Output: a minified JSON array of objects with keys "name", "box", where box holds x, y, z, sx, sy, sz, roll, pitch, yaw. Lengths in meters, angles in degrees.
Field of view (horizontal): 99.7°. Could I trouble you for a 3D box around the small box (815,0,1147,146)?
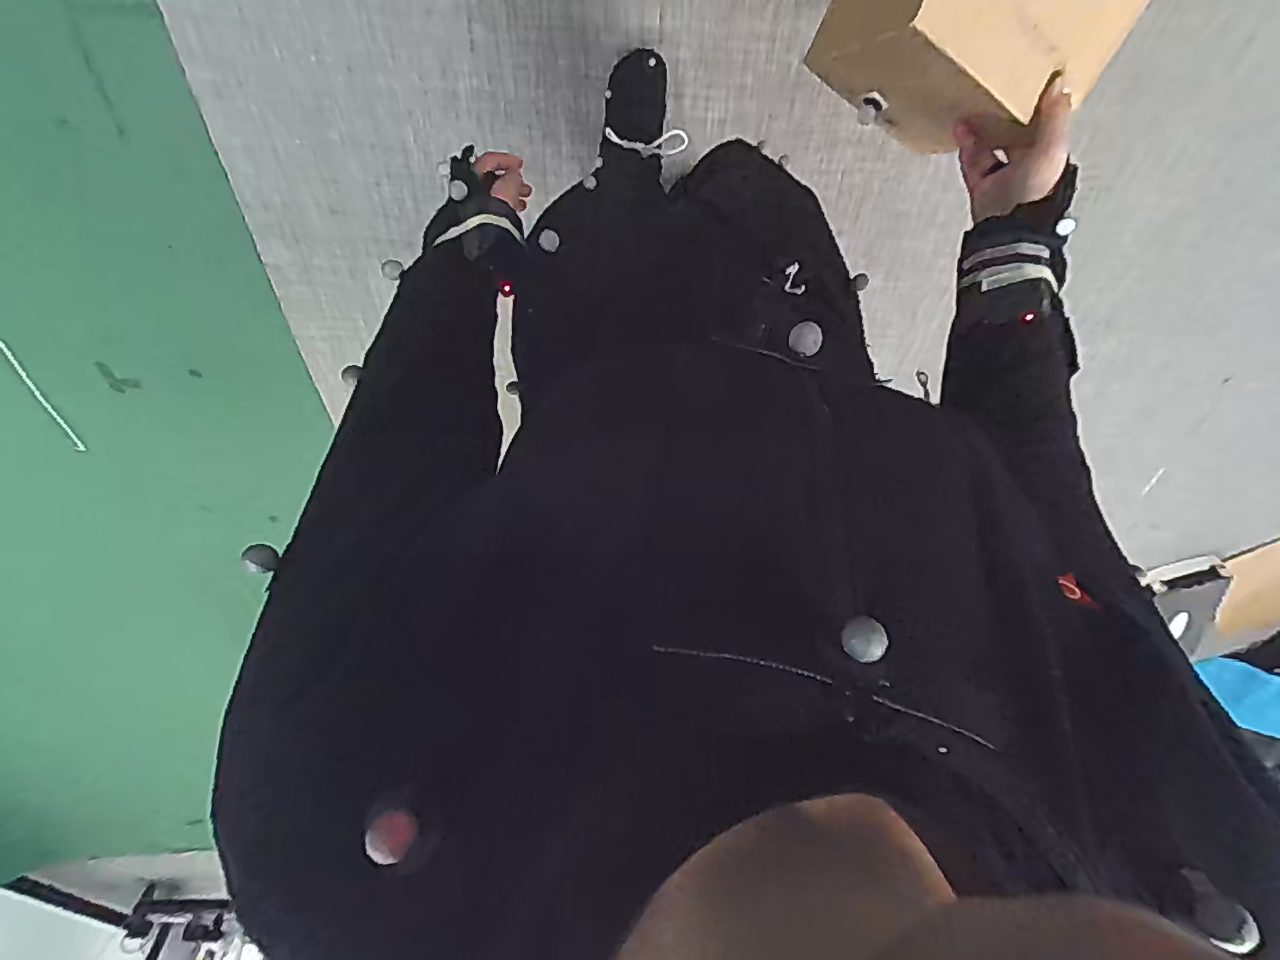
[{"name":"small box","box":[0.277,-0.404,0.438,0.168,0.176,0.179,18,112,-22]}]
